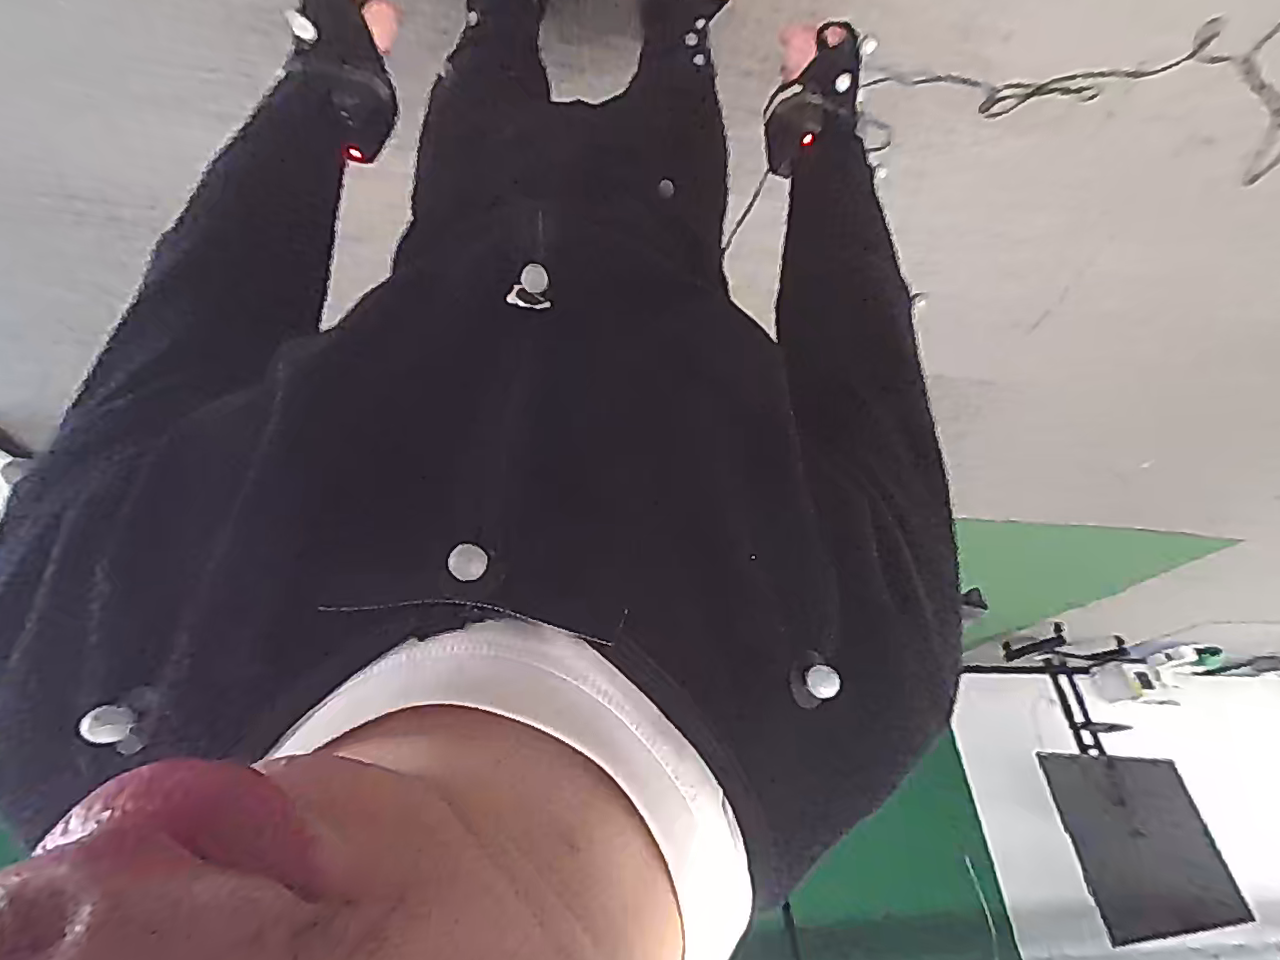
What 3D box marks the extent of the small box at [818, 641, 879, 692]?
[{"bbox_3d":[0.857,0.774,2.246,0.168,0.176,0.179,0,147,-4],"label":"small box"}]
